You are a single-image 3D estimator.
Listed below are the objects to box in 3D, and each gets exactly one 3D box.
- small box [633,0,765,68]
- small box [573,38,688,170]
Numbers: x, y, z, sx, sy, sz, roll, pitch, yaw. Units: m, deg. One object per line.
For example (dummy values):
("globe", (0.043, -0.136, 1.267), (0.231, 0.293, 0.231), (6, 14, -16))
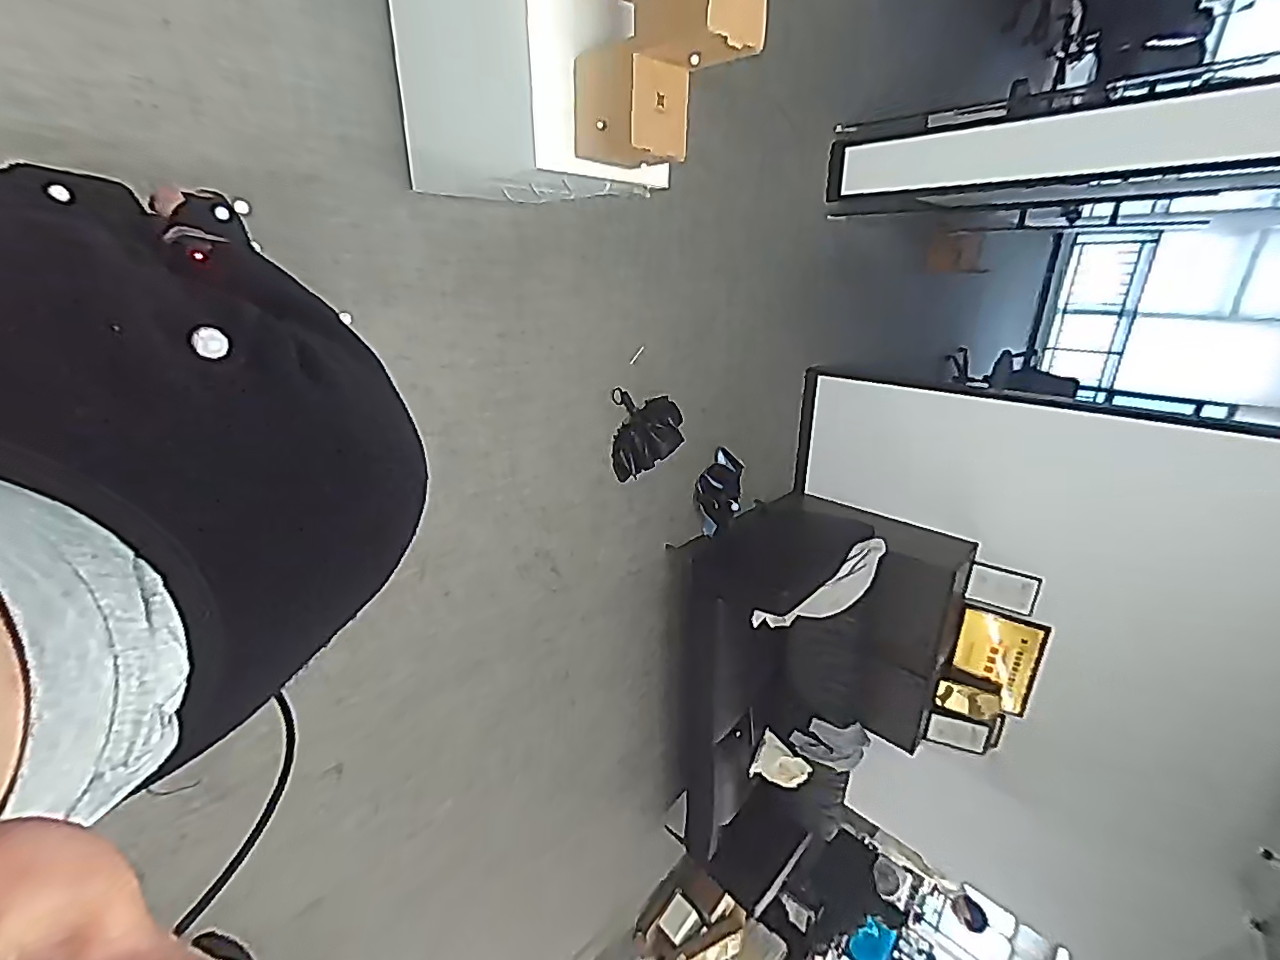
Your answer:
("small box", (0.100, -0.843, 0.934), (0.168, 0.176, 0.179), (-24, 123, -41))
("small box", (-0.021, -0.742, 1.093), (0.168, 0.176, 0.179), (-20, 117, -43))
